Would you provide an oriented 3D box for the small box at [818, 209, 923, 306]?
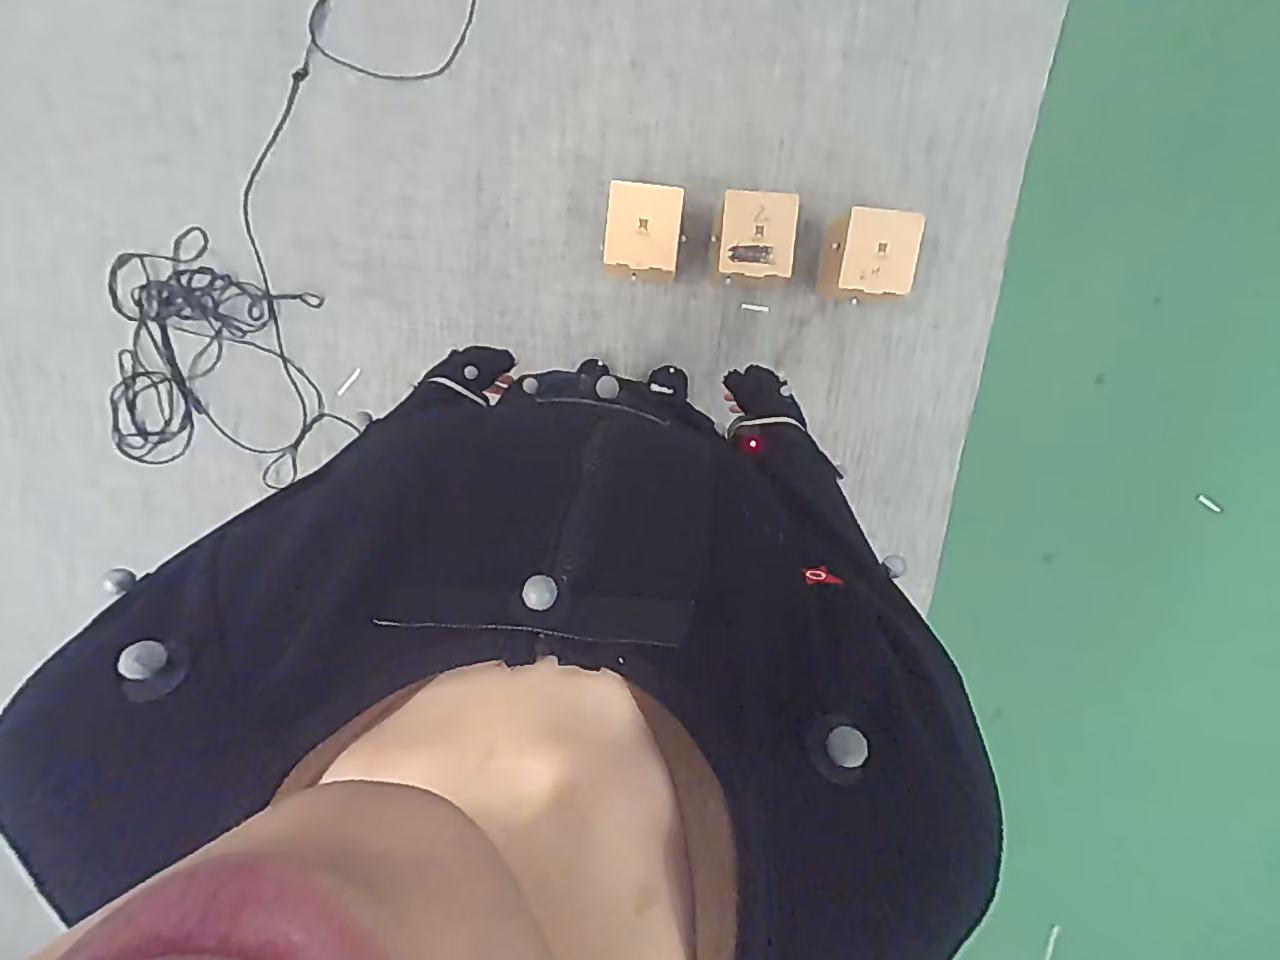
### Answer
[{"bbox_3d":[0.541,-0.524,1.293,0.168,0.176,0.179,7,103,0],"label":"small box"}]

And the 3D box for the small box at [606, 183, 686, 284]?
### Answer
[{"bbox_3d":[0.014,-0.581,1.292,0.168,0.176,0.179,7,103,1],"label":"small box"}]
